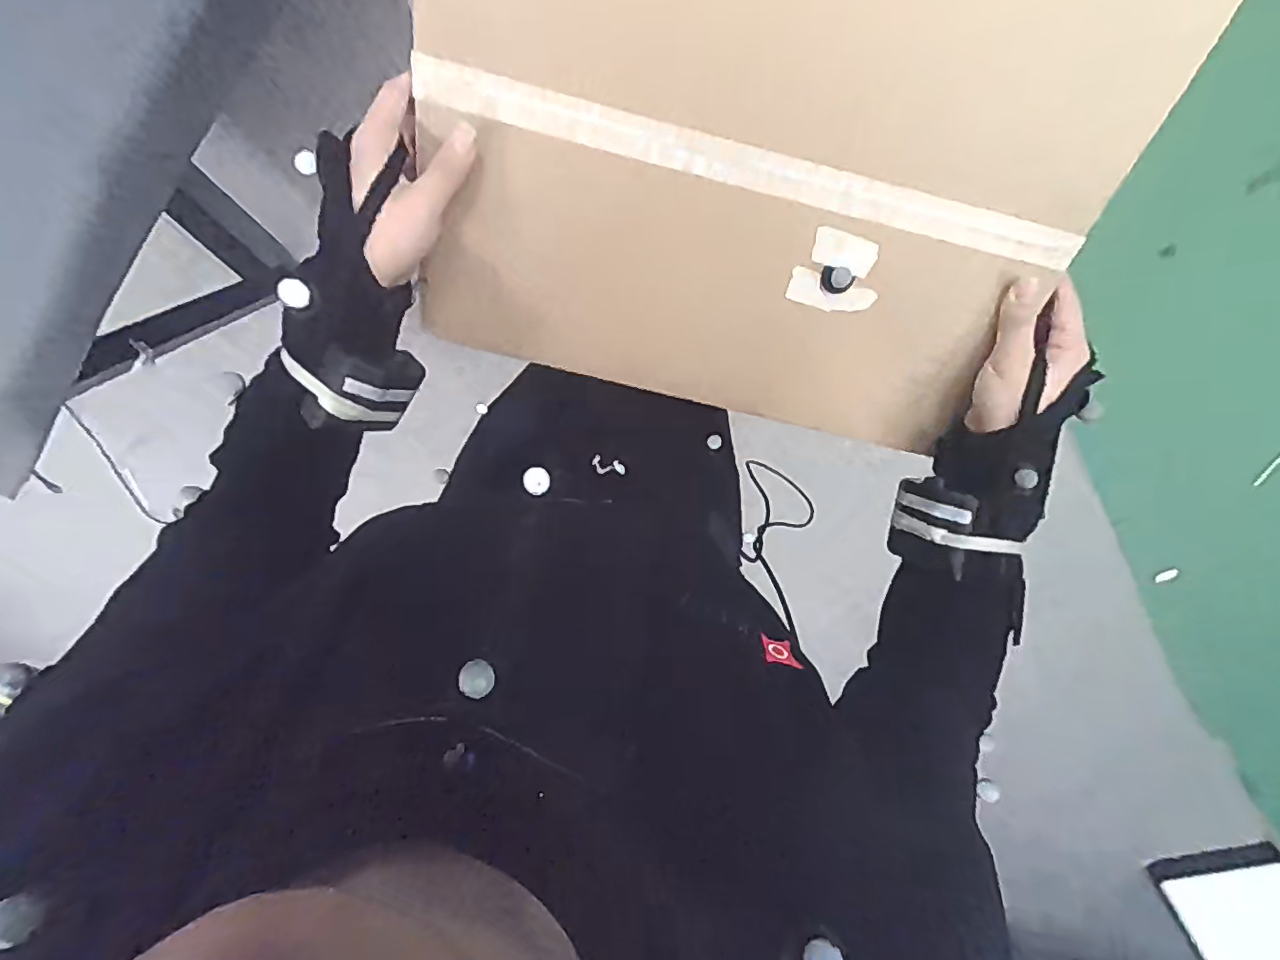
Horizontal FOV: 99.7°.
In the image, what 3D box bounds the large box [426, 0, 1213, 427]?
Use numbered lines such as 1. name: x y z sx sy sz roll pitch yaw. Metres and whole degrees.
1. large box: 0.080 -0.280 0.439 0.408 0.320 0.320 11 125 -4
